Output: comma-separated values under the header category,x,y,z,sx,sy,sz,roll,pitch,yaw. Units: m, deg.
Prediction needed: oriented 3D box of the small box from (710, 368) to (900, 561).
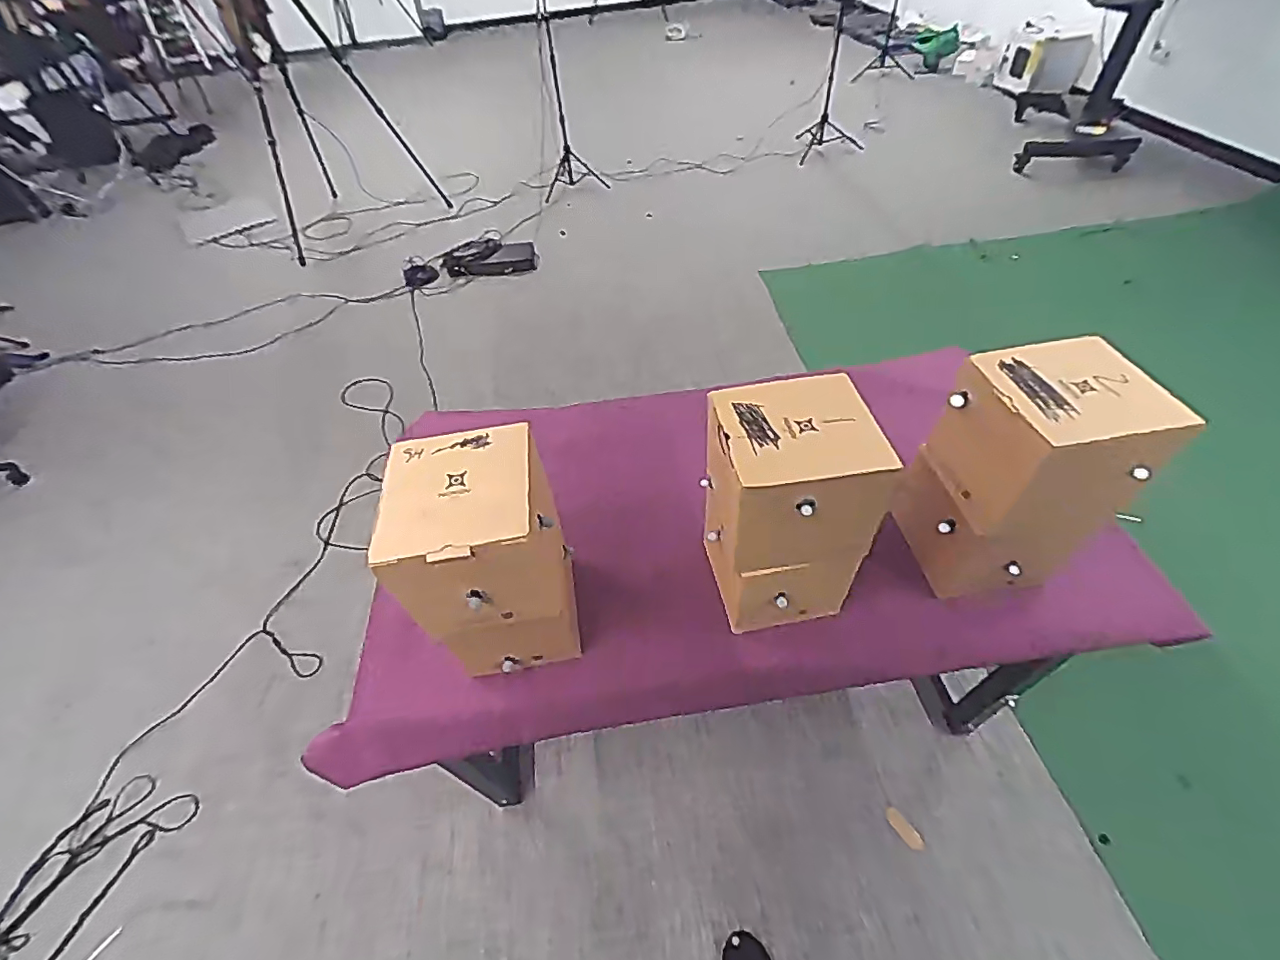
category,x,y,z,sx,sy,sz,roll,pitch,yaw
small box,0.187,-0.015,0.676,0.179,0.176,0.168,-7,48,-1

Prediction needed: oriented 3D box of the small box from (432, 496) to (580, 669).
category,x,y,z,sx,sy,sz,roll,pitch,yaw
small box,-0.185,0.149,0.786,0.168,0.176,0.179,-10,50,-3

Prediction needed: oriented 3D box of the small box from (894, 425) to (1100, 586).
category,x,y,z,sx,sy,sz,roll,pitch,yaw
small box,0.511,0.044,0.809,0.168,0.176,0.179,-7,48,-1

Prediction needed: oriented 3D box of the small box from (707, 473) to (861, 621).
category,x,y,z,sx,sy,sz,roll,pitch,yaw
small box,0.200,0.092,0.801,0.168,0.176,0.179,-10,48,-3

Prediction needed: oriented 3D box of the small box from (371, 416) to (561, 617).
category,x,y,z,sx,sy,sz,roll,pitch,yaw
small box,-0.193,0.051,0.655,0.168,0.176,0.179,-9,50,-2
